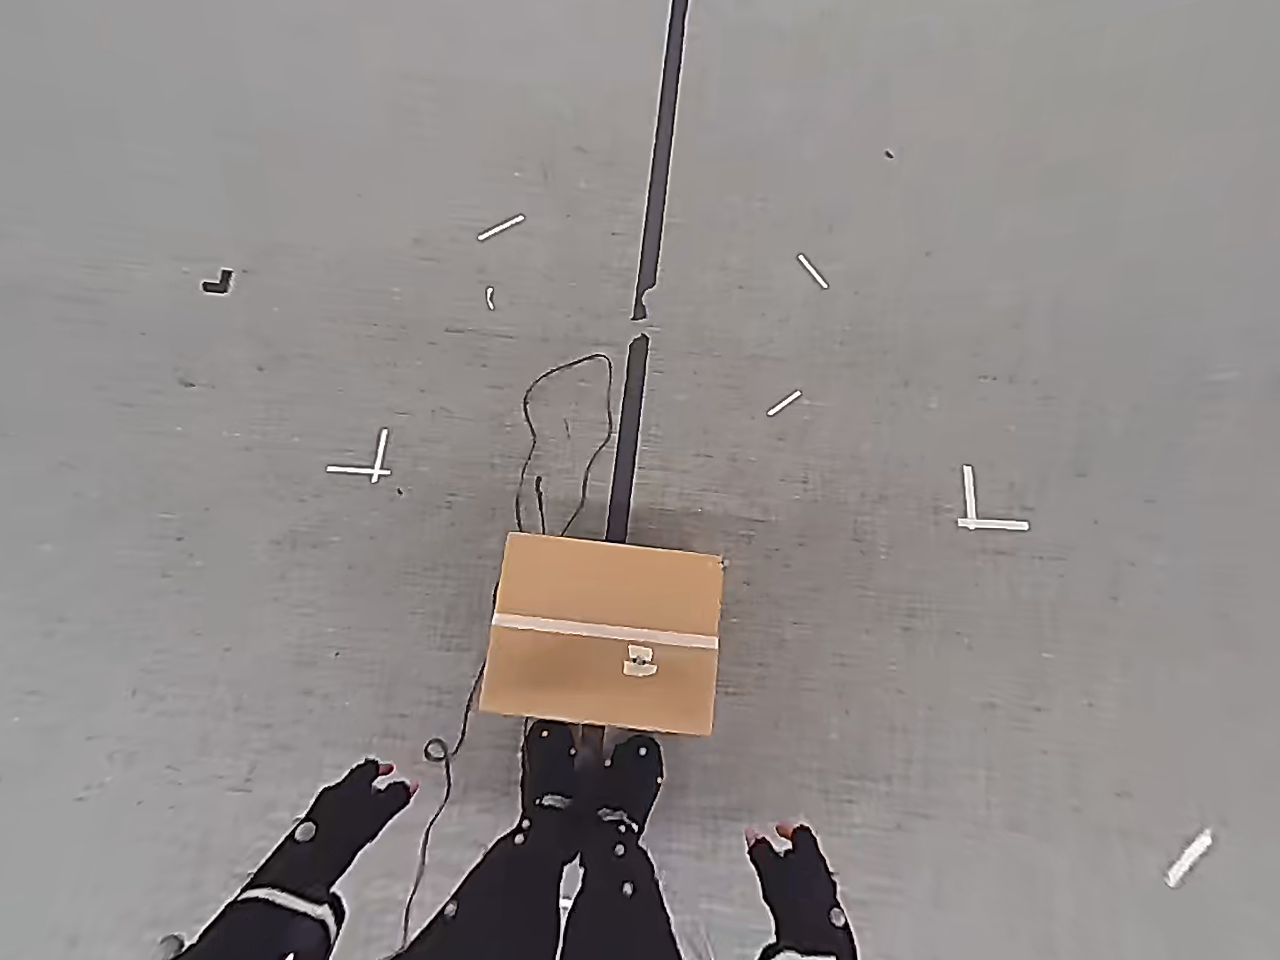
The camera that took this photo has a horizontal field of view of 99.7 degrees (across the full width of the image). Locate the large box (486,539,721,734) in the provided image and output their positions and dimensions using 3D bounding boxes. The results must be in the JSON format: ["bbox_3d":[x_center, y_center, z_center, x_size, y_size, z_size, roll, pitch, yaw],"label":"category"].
[{"bbox_3d":[-0.066,0.314,1.116,0.408,0.320,0.320,6,76,-1],"label":"large box"}]
